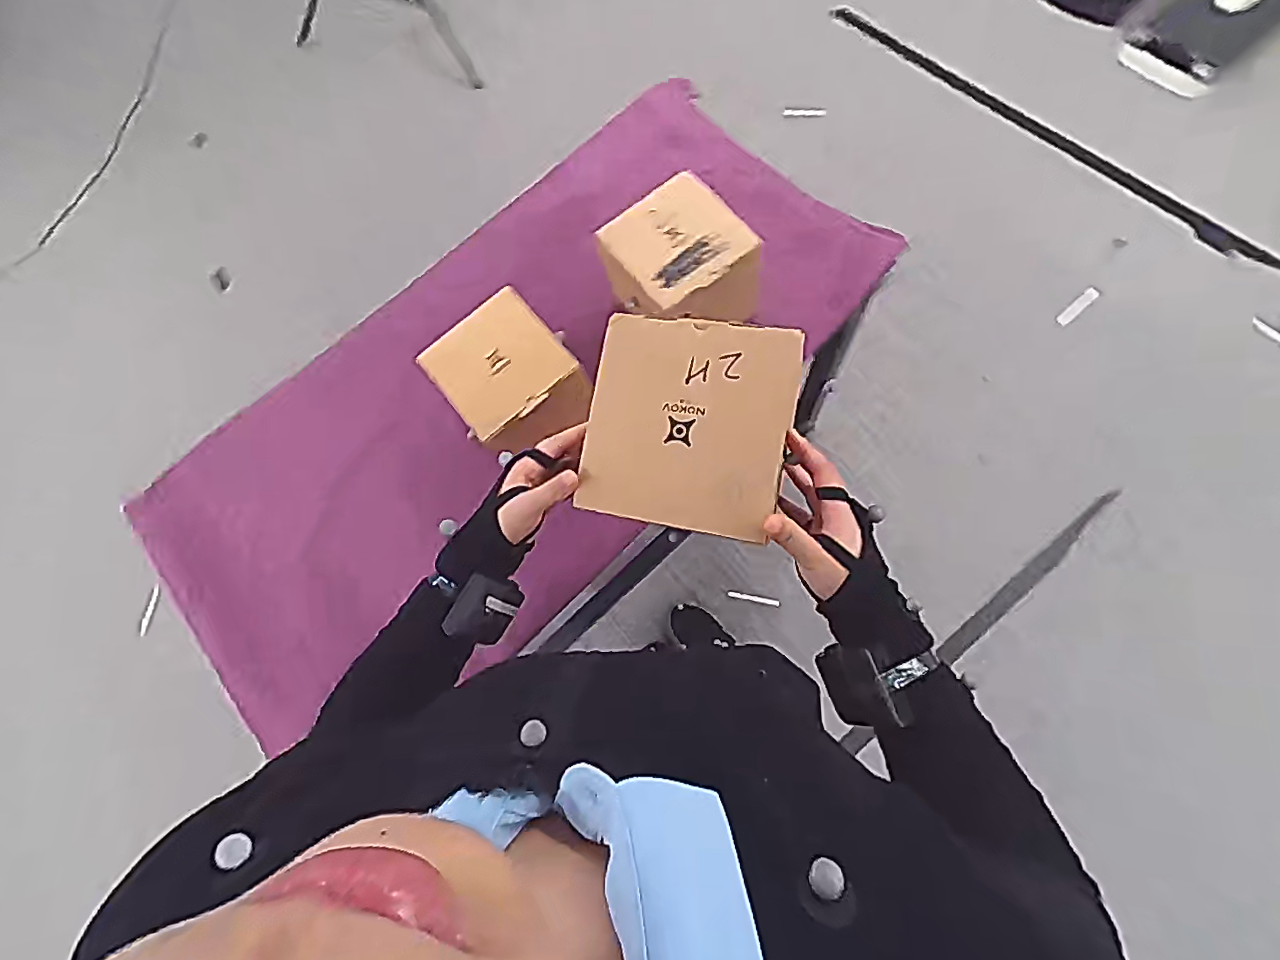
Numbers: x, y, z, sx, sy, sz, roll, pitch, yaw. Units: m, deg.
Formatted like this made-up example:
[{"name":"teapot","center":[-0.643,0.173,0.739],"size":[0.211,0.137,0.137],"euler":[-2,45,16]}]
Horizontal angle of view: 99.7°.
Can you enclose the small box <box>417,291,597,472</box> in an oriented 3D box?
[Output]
[{"name":"small box","center":[-0.190,-0.138,0.817],"size":[0.168,0.176,0.179],"euler":[-41,74,-5]}]
